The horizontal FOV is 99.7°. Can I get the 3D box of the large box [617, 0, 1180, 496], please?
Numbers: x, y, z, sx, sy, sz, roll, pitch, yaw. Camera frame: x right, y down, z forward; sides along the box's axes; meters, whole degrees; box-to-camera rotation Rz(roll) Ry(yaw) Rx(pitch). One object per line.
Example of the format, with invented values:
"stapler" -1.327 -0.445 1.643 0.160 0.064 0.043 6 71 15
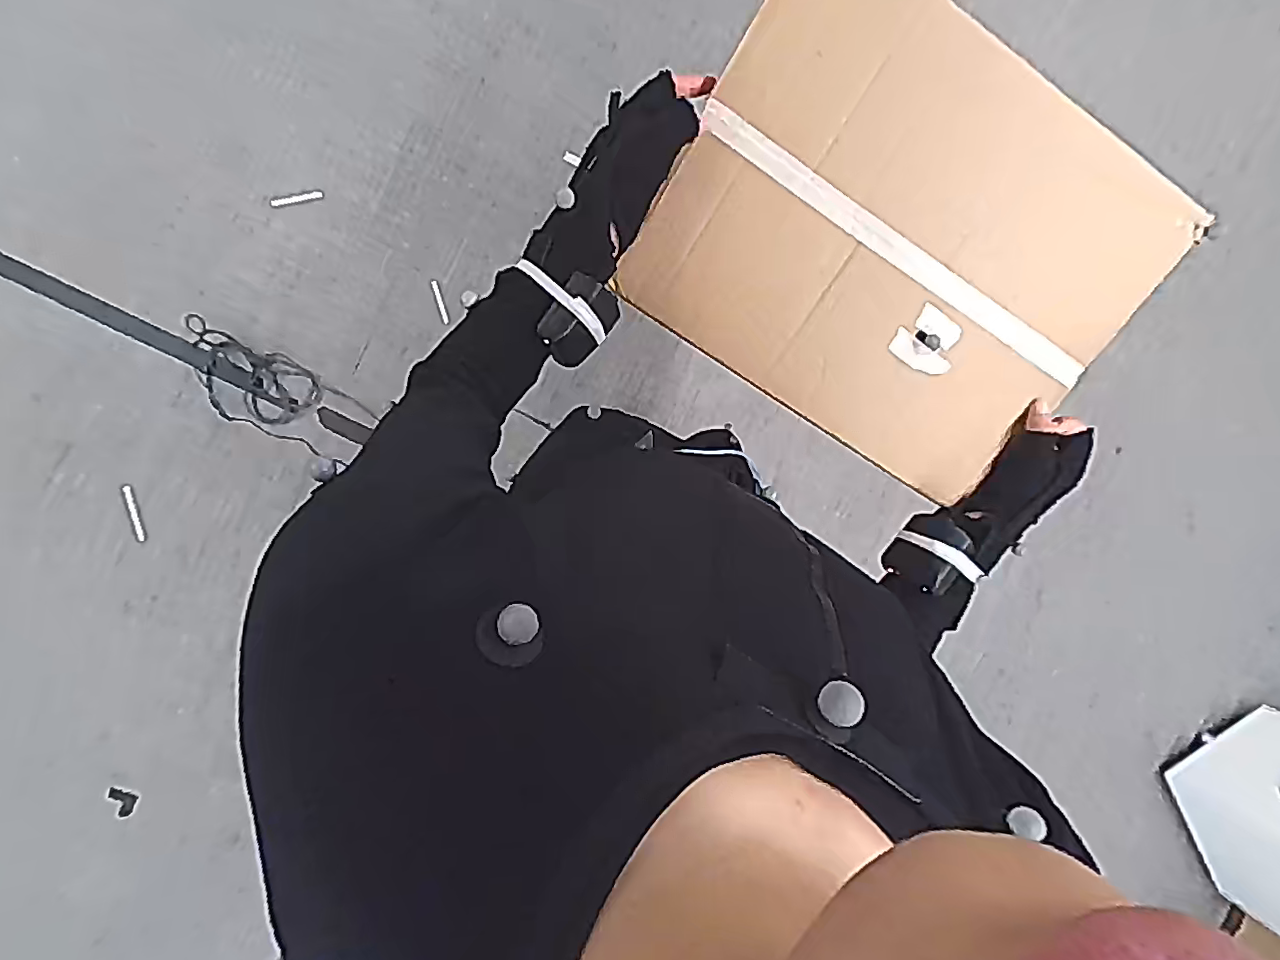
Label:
"large box" 0.222 -0.247 0.619 0.408 0.320 0.320 31 106 -9
